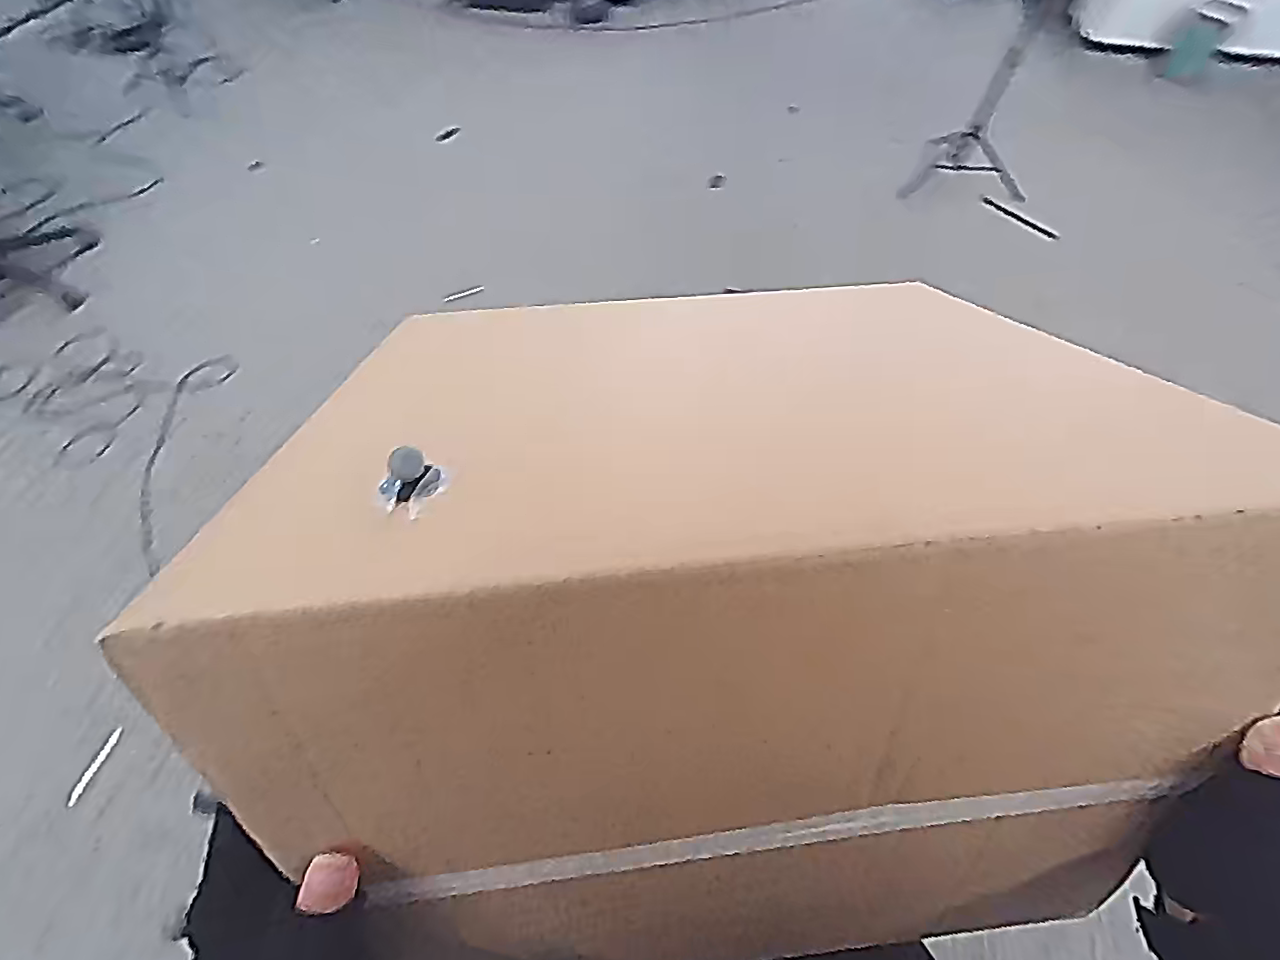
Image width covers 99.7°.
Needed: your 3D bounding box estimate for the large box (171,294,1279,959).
[{"bbox_3d":[0.044,0.074,0.377,0.408,0.320,0.320,-6,33,-3],"label":"large box"}]
